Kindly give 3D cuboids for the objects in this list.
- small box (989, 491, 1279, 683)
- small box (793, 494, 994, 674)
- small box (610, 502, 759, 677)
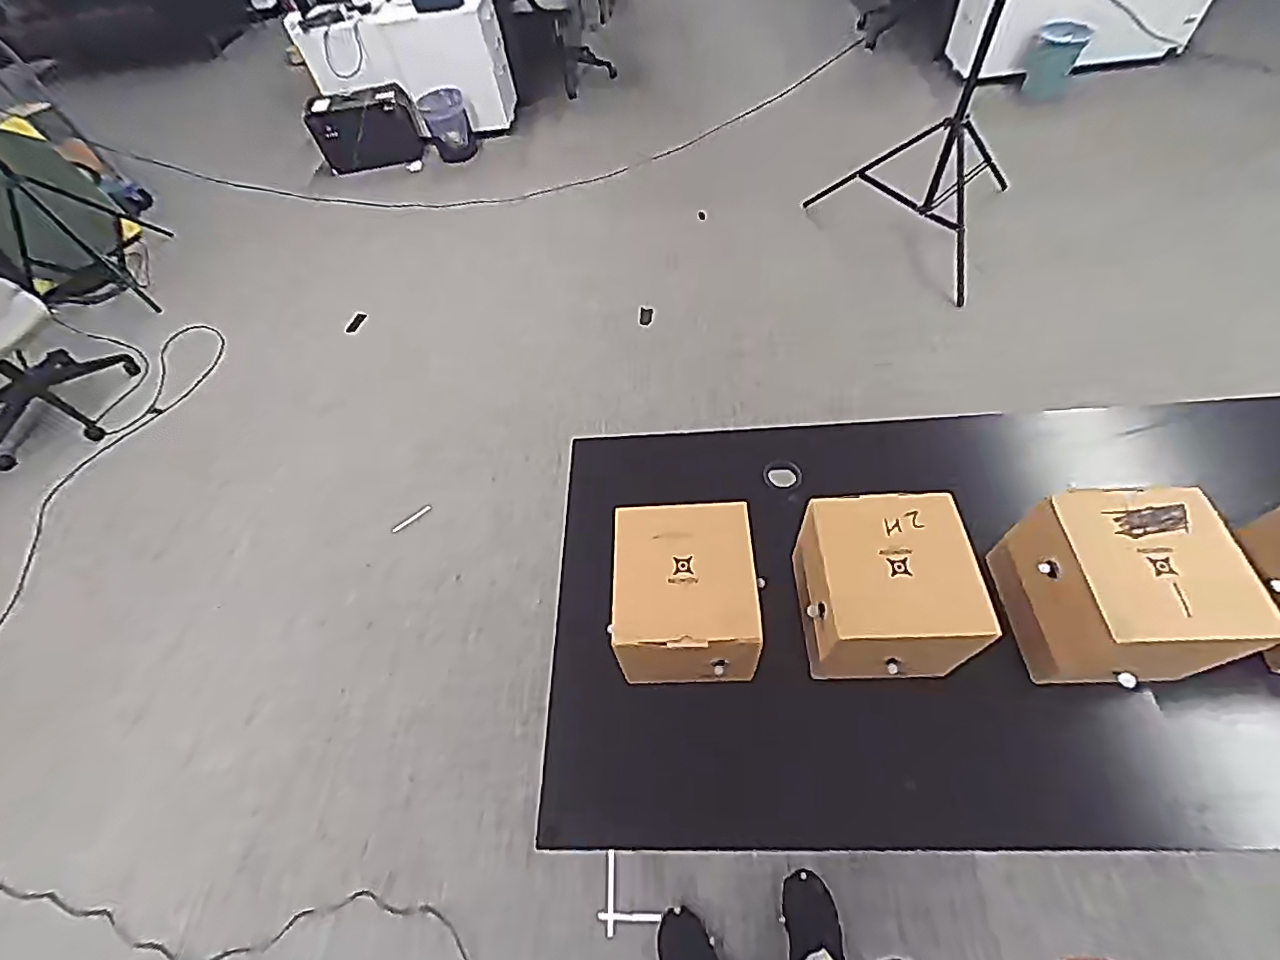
[{"bbox_3d":[0.557,0.131,0.644,0.168,0.176,0.179,-3,57,5],"label":"small box"},{"bbox_3d":[0.293,0.136,0.672,0.168,0.176,0.179,-2,56,5],"label":"small box"},{"bbox_3d":[0.055,0.148,0.695,0.168,0.176,0.179,-3,55,3],"label":"small box"}]
